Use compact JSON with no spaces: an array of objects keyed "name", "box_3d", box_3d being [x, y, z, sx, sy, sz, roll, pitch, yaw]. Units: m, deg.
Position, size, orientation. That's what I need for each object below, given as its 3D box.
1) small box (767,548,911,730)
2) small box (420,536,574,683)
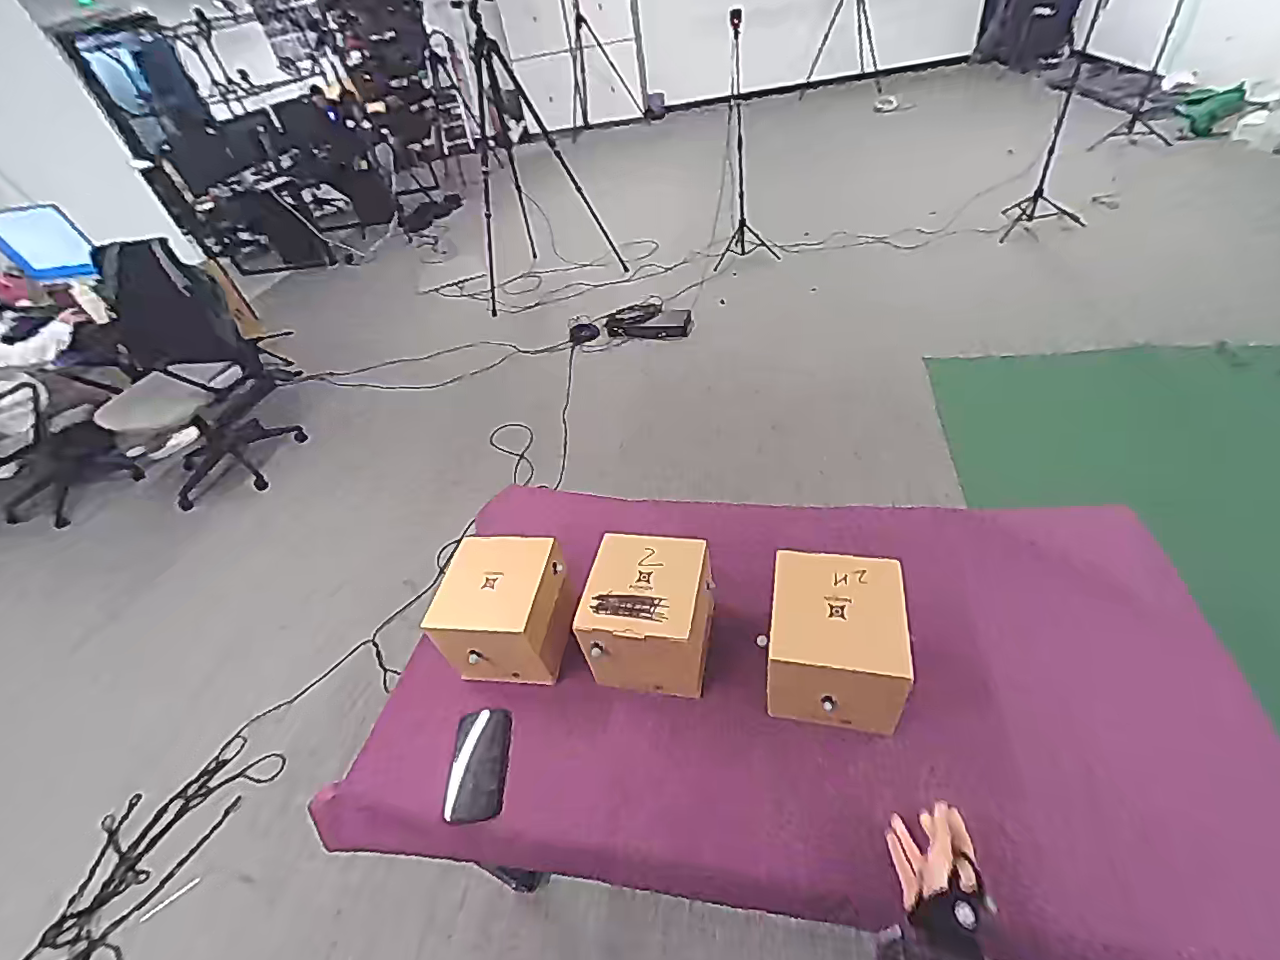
[{"name":"small box","box_3d":[0.268,0.220,0.751,0.168,0.176,0.179,4,44,16]},{"name":"small box","box_3d":[-0.216,0.211,0.879,0.168,0.176,0.179,-1,42,12]}]
